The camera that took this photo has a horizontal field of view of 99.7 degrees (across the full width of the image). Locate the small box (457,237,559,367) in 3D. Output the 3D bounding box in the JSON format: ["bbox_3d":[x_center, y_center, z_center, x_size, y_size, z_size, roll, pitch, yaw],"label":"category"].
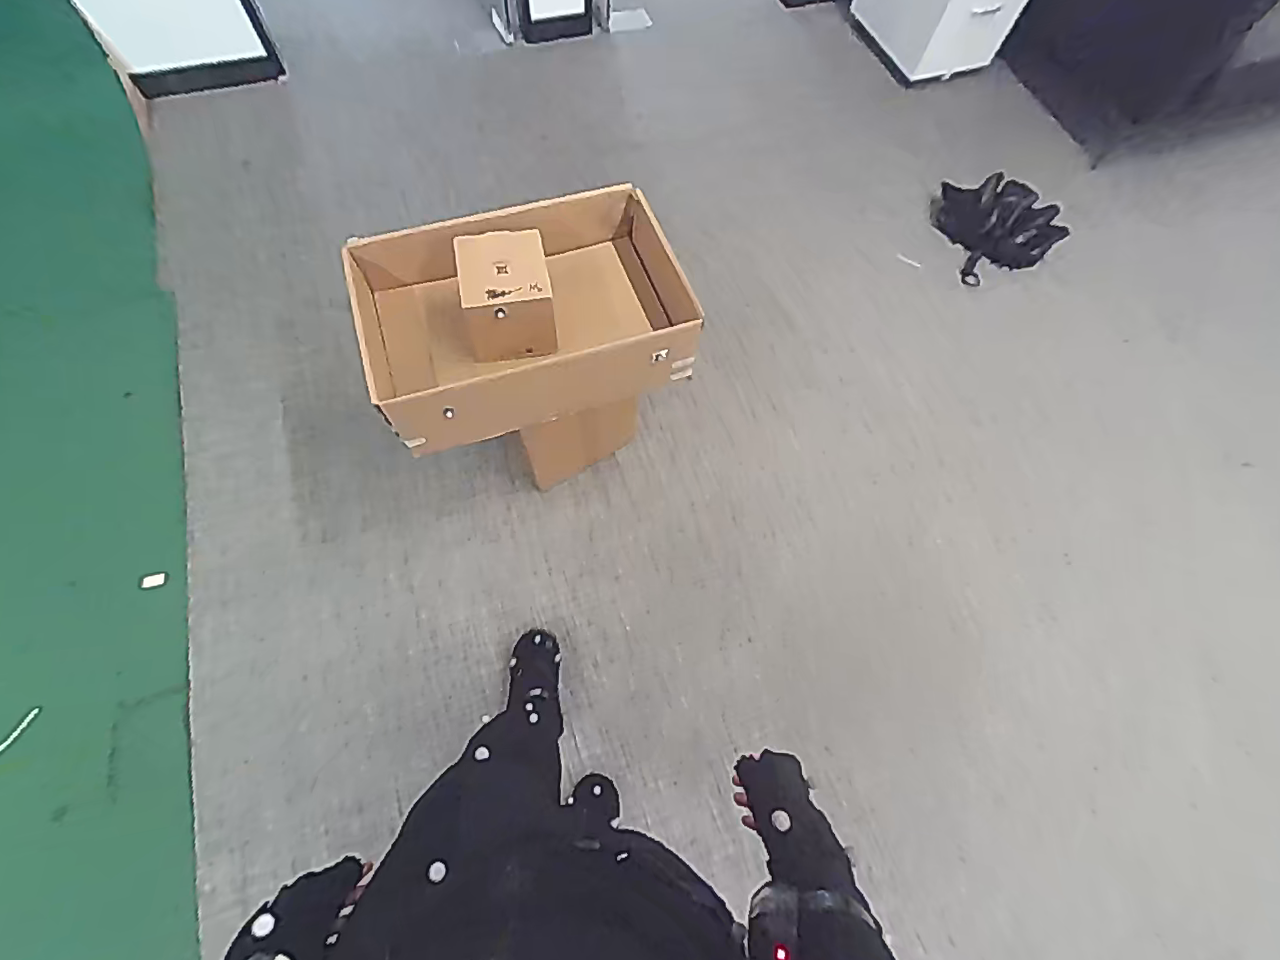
[{"bbox_3d":[-0.261,-0.354,1.089,0.168,0.176,0.179,-11,66,-8],"label":"small box"}]
